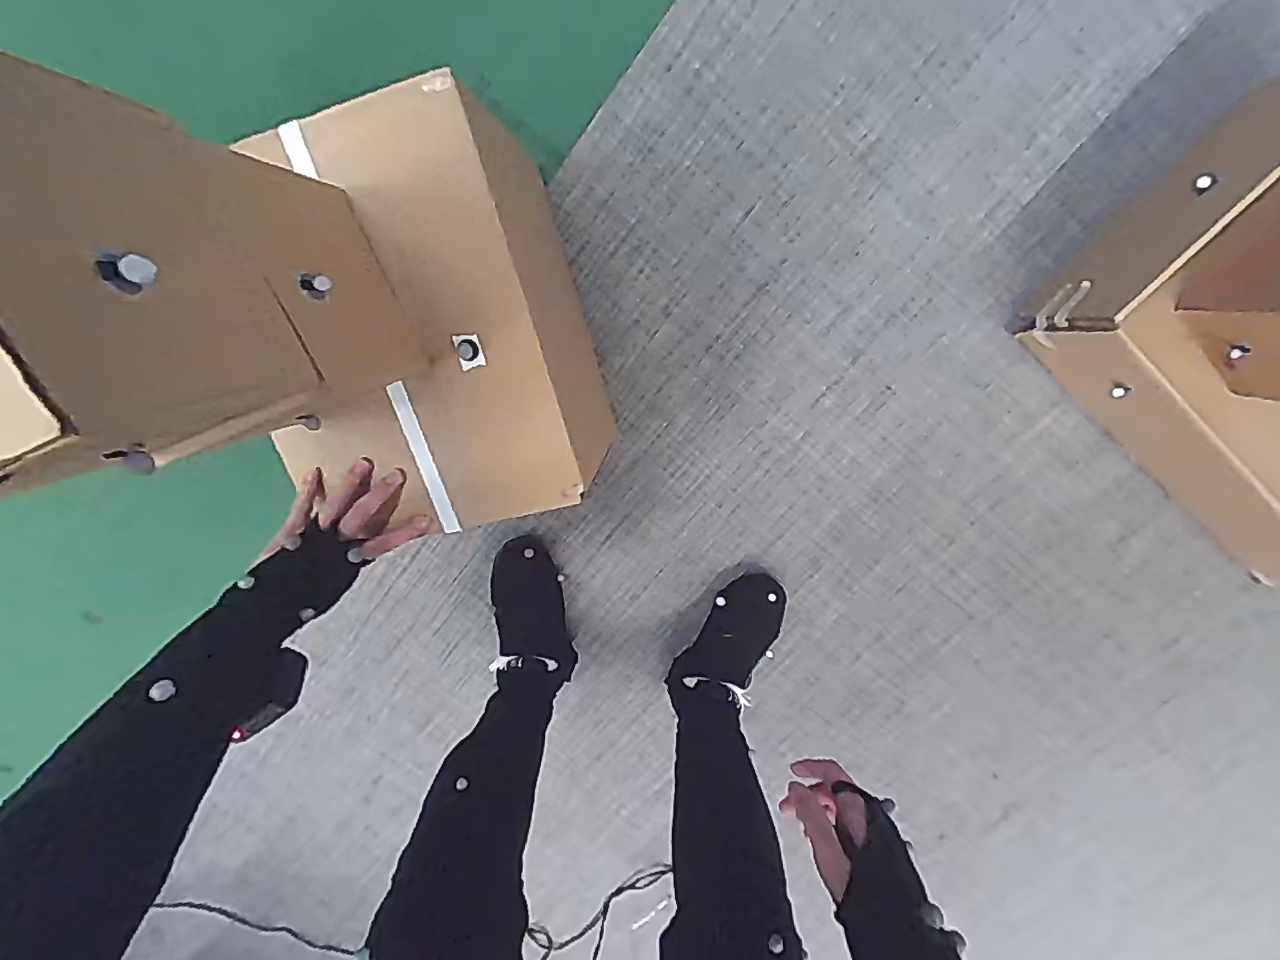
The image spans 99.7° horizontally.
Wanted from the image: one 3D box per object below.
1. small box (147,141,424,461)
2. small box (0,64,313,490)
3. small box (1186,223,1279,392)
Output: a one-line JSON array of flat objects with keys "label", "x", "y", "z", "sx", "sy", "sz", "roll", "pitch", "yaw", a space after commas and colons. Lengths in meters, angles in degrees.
[{"label": "small box", "x": -0.315, "y": -0.140, "z": 0.452, "sx": 0.168, "sy": 0.176, "sz": 0.179, "roll": -19, "pitch": 105, "yaw": 9}, {"label": "small box", "x": -0.329, "y": -0.099, "z": 0.294, "sx": 0.168, "sy": 0.176, "sz": 0.179, "roll": -18, "pitch": 107, "yaw": 9}, {"label": "small box", "x": 0.825, "y": -0.213, "z": 0.631, "sx": 0.168, "sy": 0.176, "sz": 0.179, "roll": 42, "pitch": 106, "yaw": -12}]
